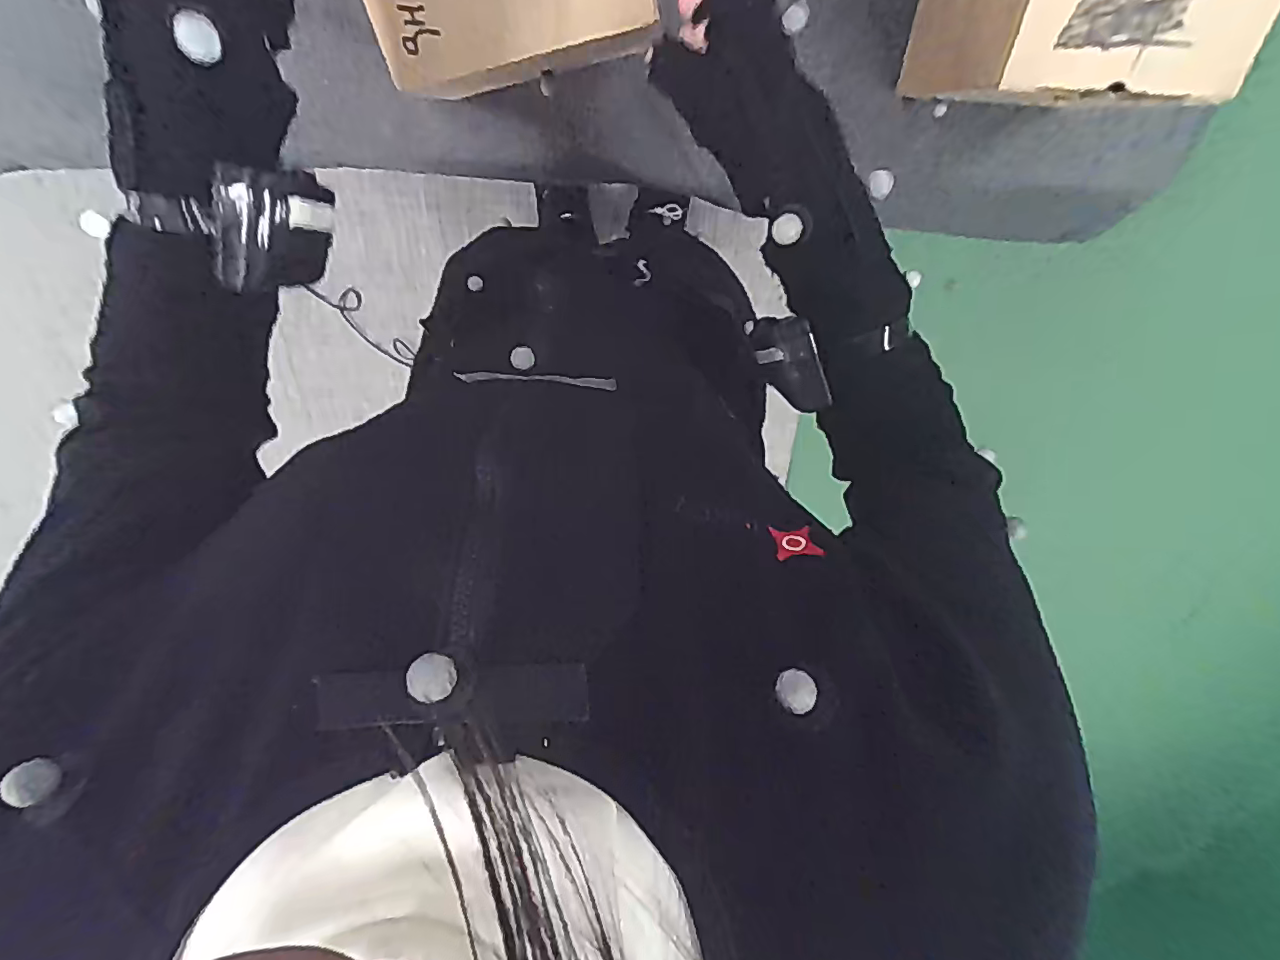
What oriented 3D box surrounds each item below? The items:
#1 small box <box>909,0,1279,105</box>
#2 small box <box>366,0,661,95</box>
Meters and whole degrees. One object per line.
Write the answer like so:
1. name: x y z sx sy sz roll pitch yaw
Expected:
1. small box: 0.321 -0.376 0.383 0.168 0.176 0.179 2 123 -3
2. small box: -0.092 -0.377 0.363 0.179 0.176 0.168 -12 124 4
